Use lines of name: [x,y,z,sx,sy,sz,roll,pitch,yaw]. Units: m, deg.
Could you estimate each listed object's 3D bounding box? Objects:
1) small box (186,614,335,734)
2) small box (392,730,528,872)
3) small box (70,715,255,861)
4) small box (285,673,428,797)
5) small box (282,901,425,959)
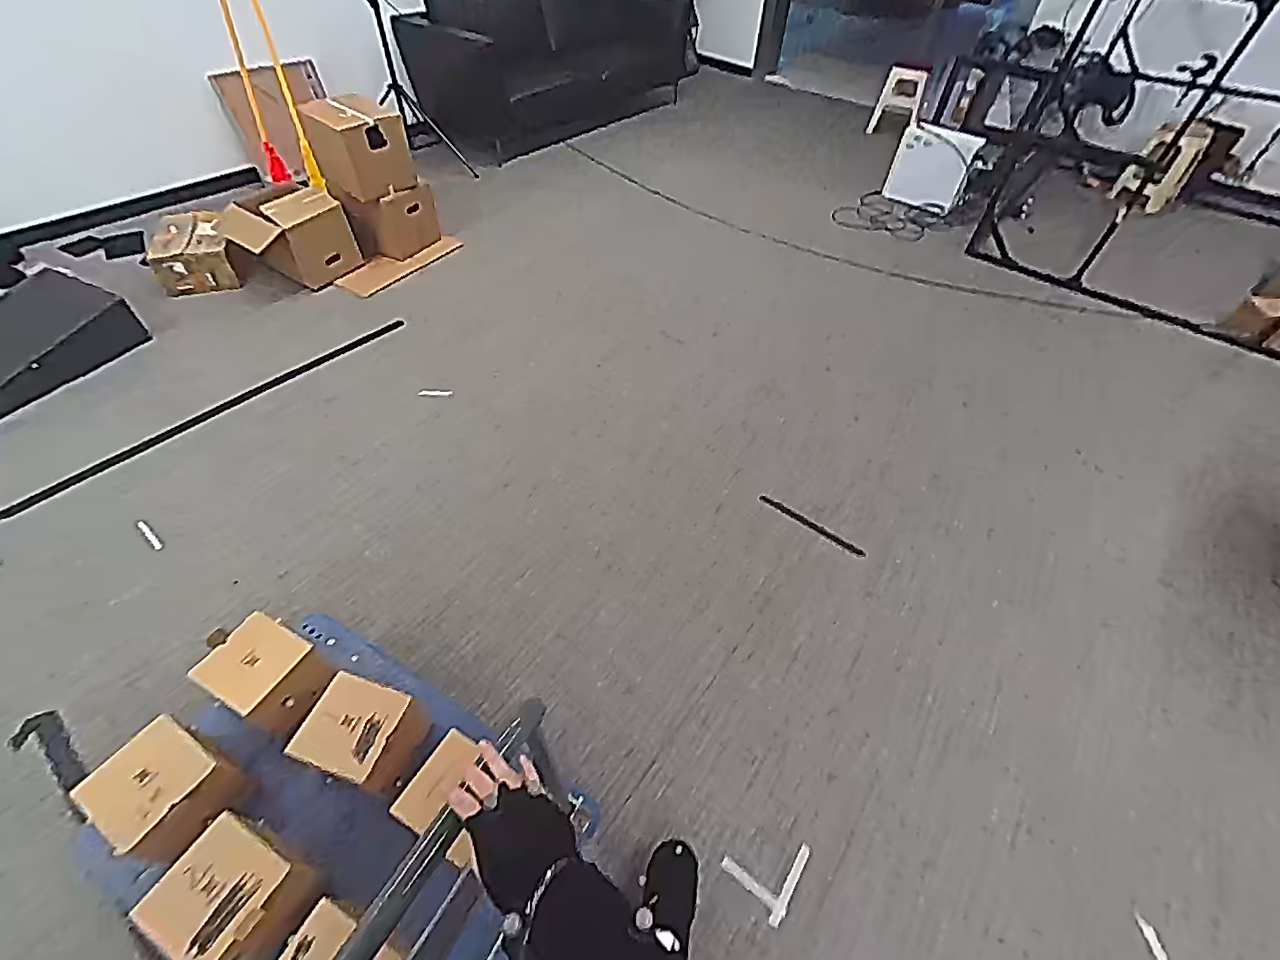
small box: [-0.811,0.429,1.179,0.179,0.176,0.168,23,51,14]
small box: [-0.337,0.626,1.050,0.179,0.176,0.168,25,52,17]
small box: [-0.893,0.591,1.030,0.179,0.176,0.168,27,53,16]
small box: [-0.567,0.529,1.112,0.179,0.176,0.168,15,50,9]
small box: [-0.478,0.818,0.871,0.179,0.176,0.168,23,51,14]
